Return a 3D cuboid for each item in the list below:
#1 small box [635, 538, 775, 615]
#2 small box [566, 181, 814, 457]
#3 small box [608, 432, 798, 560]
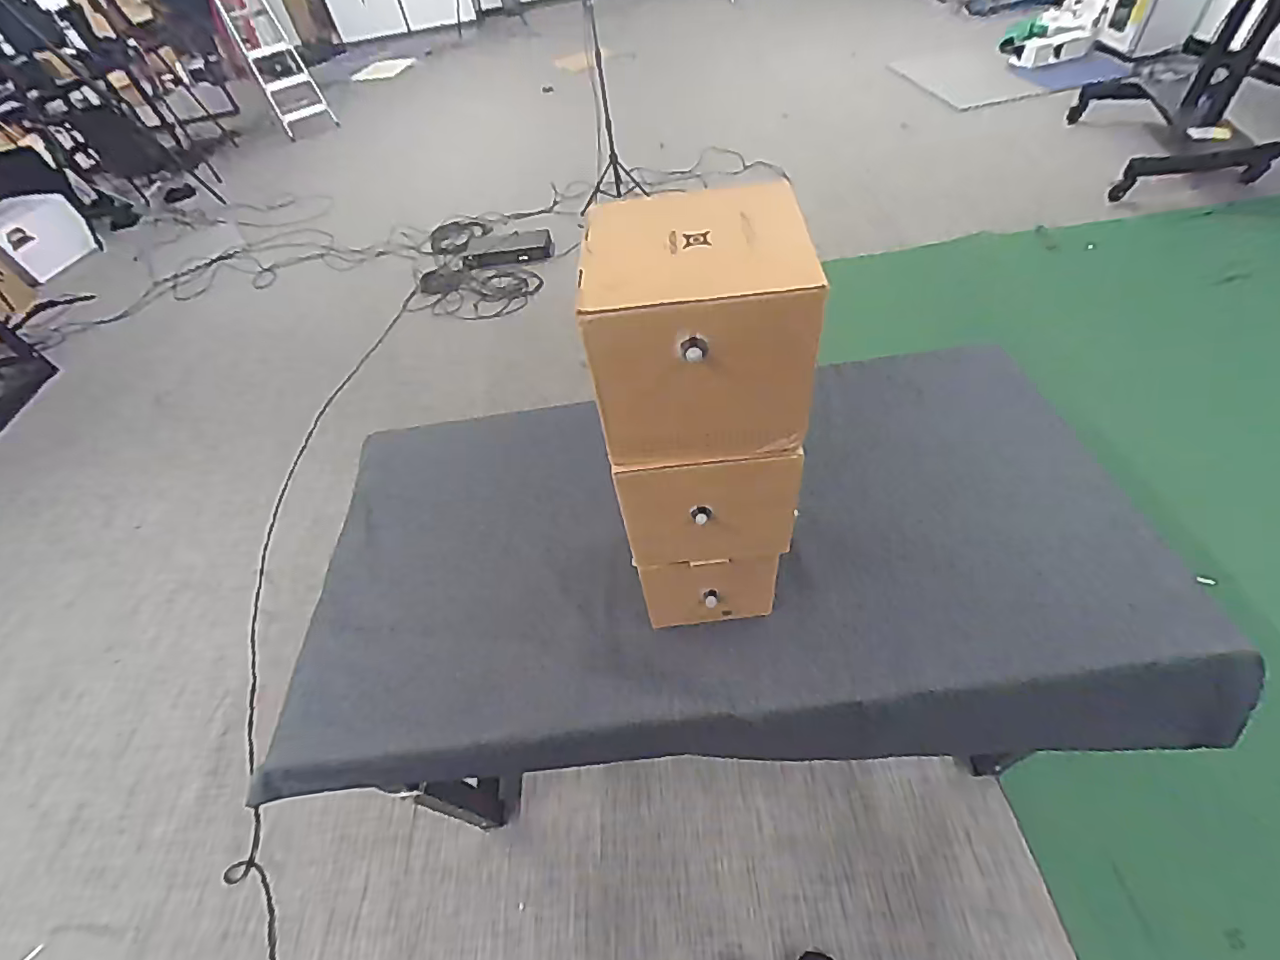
[{"bbox_3d":[0.082,0.070,0.734,0.168,0.176,0.179,-9,51,3],"label":"small box"},{"bbox_3d":[0.044,-0.135,0.482,0.179,0.176,0.168,-5,51,5],"label":"small box"},{"bbox_3d":[0.066,-0.027,0.602,0.179,0.176,0.168,-7,50,6],"label":"small box"}]
